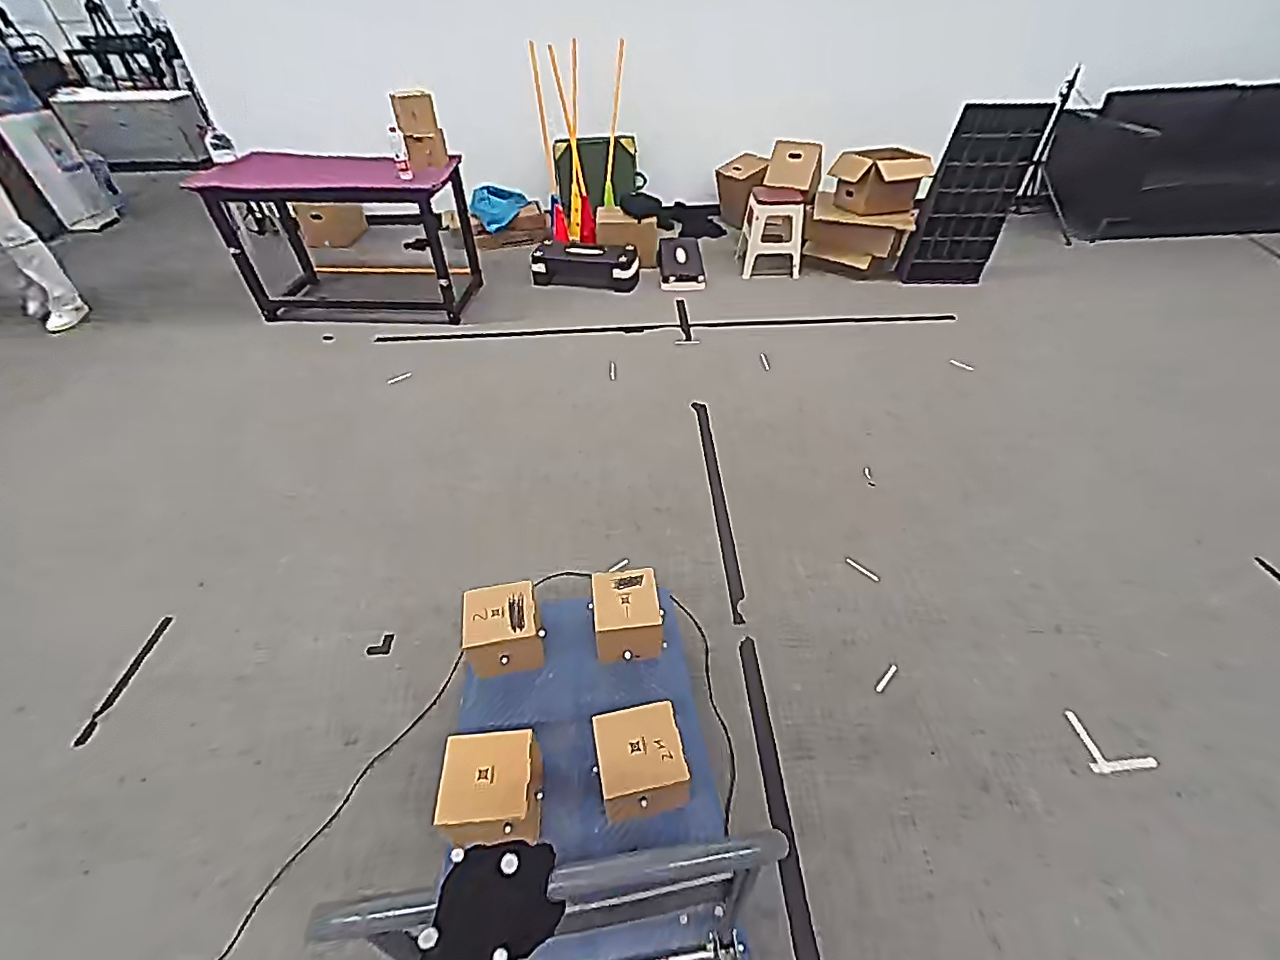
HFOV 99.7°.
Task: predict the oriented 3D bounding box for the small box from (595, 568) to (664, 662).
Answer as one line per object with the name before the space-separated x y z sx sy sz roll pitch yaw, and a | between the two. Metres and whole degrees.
small box | -0.032 0.356 1.428 0.168 0.176 0.179 -5 44 -4

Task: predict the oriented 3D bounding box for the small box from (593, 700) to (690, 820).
small box | 0.002 0.604 1.162 0.179 0.176 0.168 -8 44 -8

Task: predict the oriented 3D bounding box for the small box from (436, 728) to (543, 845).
small box | -0.304 0.641 1.128 0.179 0.176 0.168 -2 43 -5
